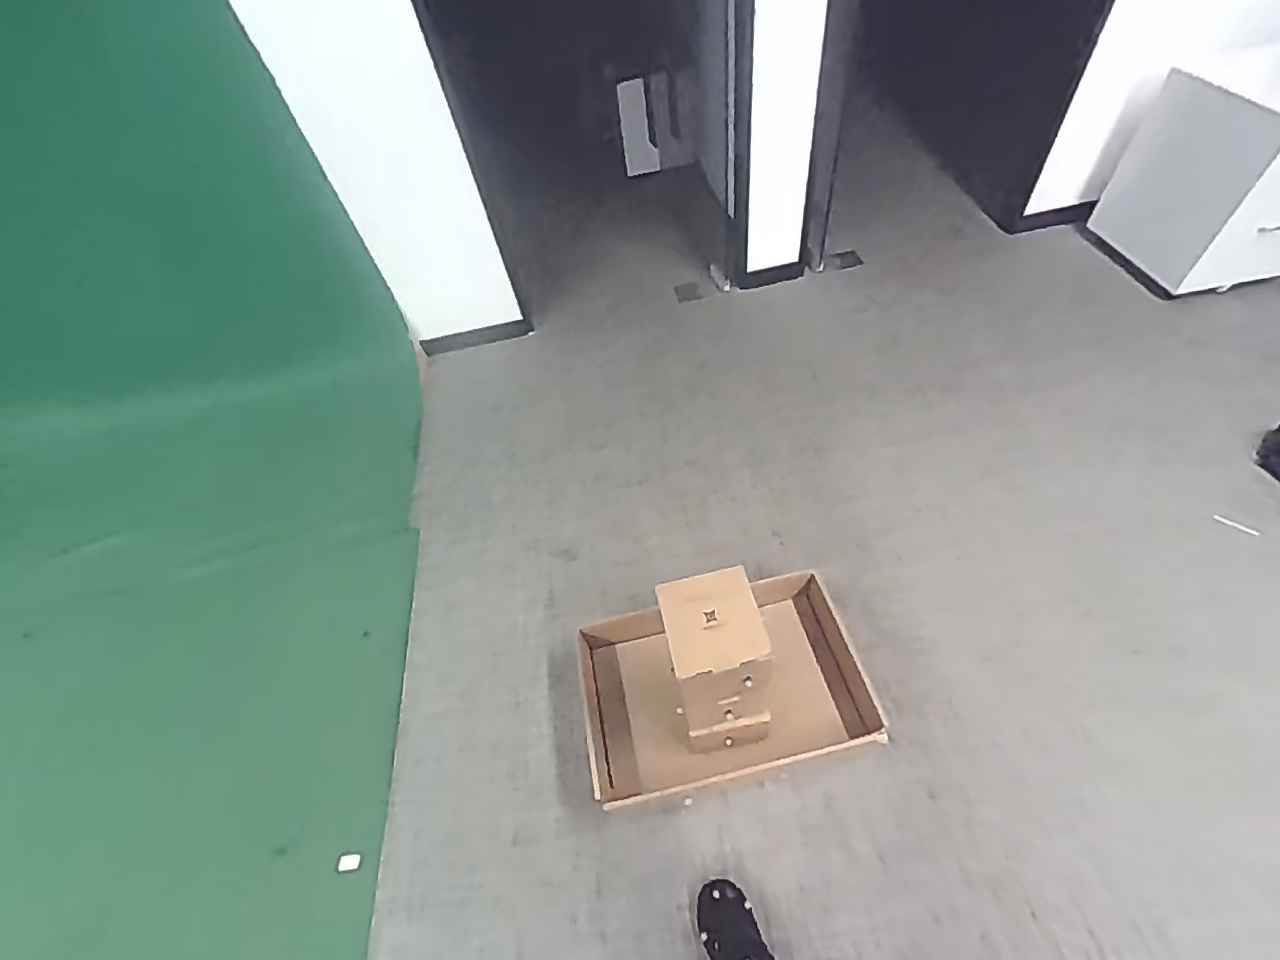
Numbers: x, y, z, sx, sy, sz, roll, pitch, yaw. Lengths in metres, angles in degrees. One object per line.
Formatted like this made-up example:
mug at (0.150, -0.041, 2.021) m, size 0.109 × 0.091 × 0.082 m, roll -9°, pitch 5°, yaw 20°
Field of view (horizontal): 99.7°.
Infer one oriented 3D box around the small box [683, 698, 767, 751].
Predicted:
small box at (0.185, 0.510, 1.250) m, size 0.179 × 0.176 × 0.168 m, roll -12°, pitch 50°, yaw 2°

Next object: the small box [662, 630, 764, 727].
small box at (0.154, 0.400, 1.136) m, size 0.168 × 0.176 × 0.179 m, roll -16°, pitch 50°, yaw -1°

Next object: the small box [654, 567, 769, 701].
small box at (0.129, 0.290, 0.994) m, size 0.168 × 0.176 × 0.179 m, roll -13°, pitch 50°, yaw -2°
